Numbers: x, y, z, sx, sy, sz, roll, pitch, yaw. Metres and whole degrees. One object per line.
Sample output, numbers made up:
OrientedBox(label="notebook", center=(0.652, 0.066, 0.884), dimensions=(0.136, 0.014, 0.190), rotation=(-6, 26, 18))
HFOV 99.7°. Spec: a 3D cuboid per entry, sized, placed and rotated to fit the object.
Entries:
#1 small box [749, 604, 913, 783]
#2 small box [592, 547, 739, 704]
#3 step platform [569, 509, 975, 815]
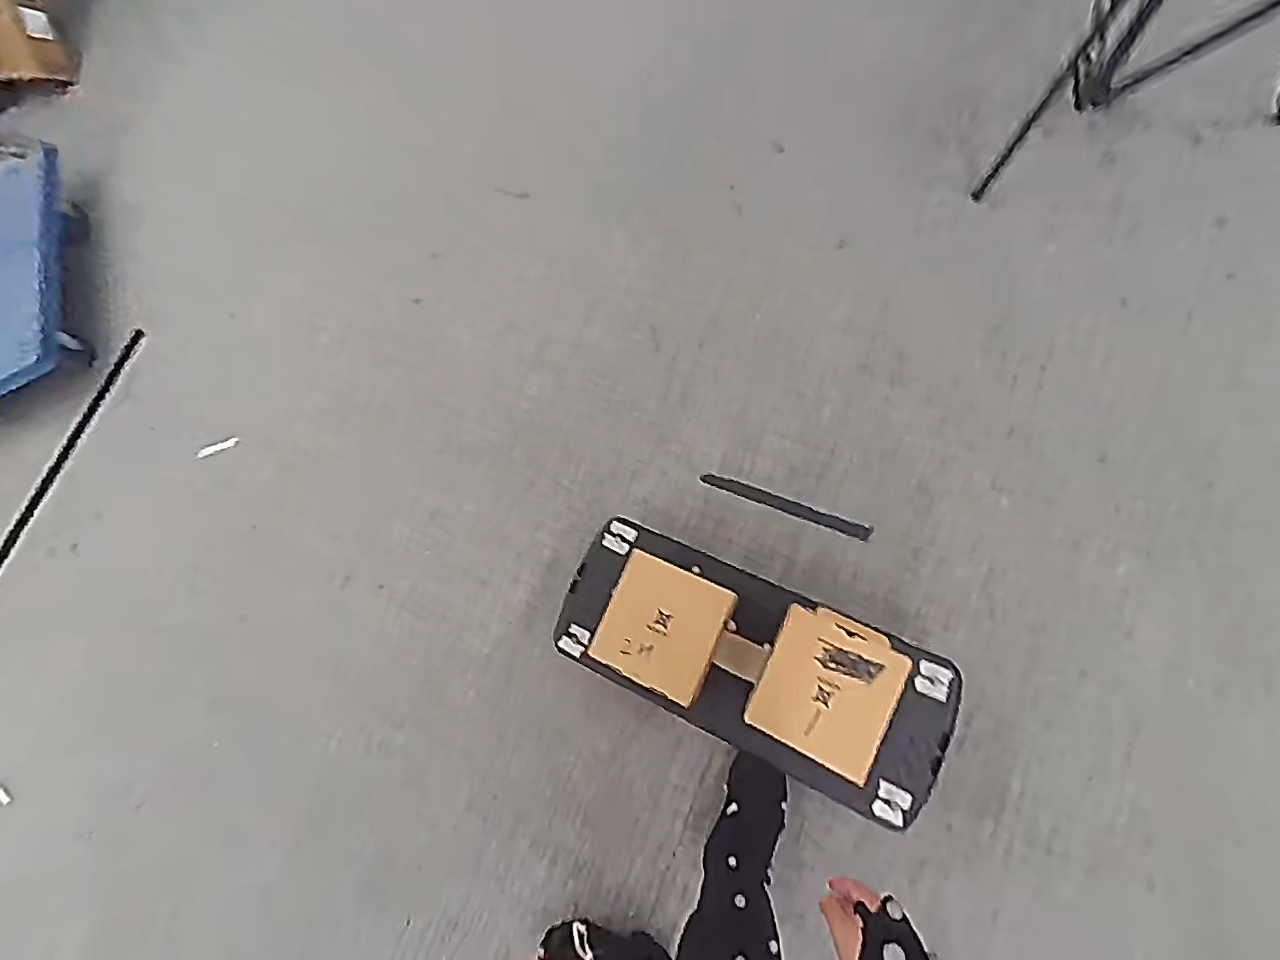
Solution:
OrientedBox(label="small box", center=(0.272, 0.300, 0.803), dimensions=(0.168, 0.176, 0.179), rotation=(24, 84, 18))
OrientedBox(label="small box", center=(0.051, 0.229, 0.869), dimensions=(0.168, 0.176, 0.179), rotation=(23, 82, 18))
OrientedBox(label="step platform", center=(0.215, 0.301, 0.998), dimensions=(0.684, 0.204, 0.286), rotation=(22, 81, 17))
